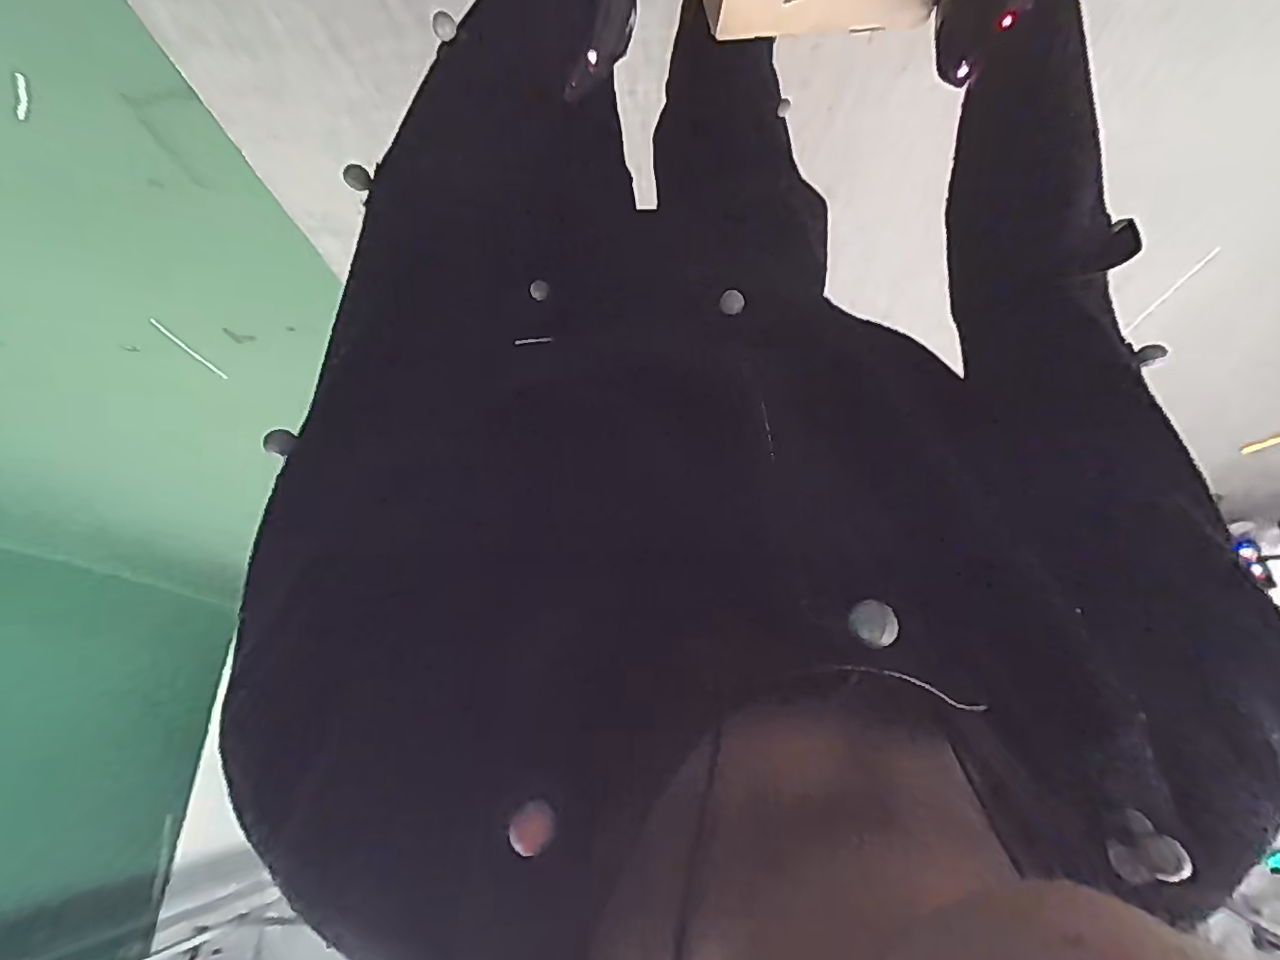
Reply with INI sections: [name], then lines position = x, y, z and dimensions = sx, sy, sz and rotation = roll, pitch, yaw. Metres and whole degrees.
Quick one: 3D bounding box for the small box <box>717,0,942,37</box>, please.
[small box]
position = 0.128, -0.426, 0.329
dimensions = 0.168, 0.176, 0.179
rotation = -8, 168, -6
